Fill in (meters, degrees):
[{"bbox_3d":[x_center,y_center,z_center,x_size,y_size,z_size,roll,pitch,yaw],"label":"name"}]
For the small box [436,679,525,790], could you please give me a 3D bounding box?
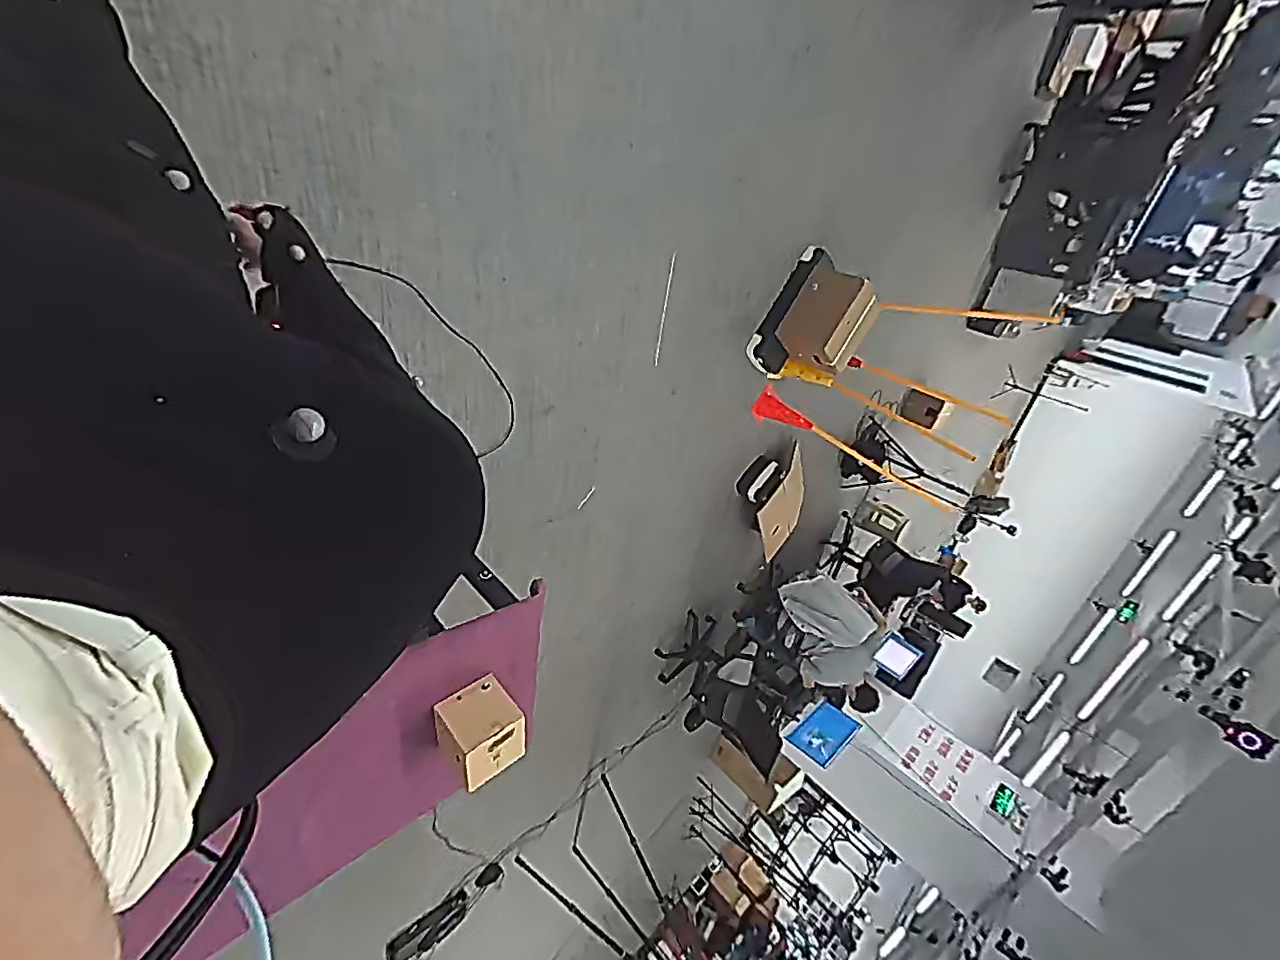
[{"bbox_3d":[-0.416,0.649,1.409,0.168,0.176,0.179,-22,133,-38],"label":"small box"}]
